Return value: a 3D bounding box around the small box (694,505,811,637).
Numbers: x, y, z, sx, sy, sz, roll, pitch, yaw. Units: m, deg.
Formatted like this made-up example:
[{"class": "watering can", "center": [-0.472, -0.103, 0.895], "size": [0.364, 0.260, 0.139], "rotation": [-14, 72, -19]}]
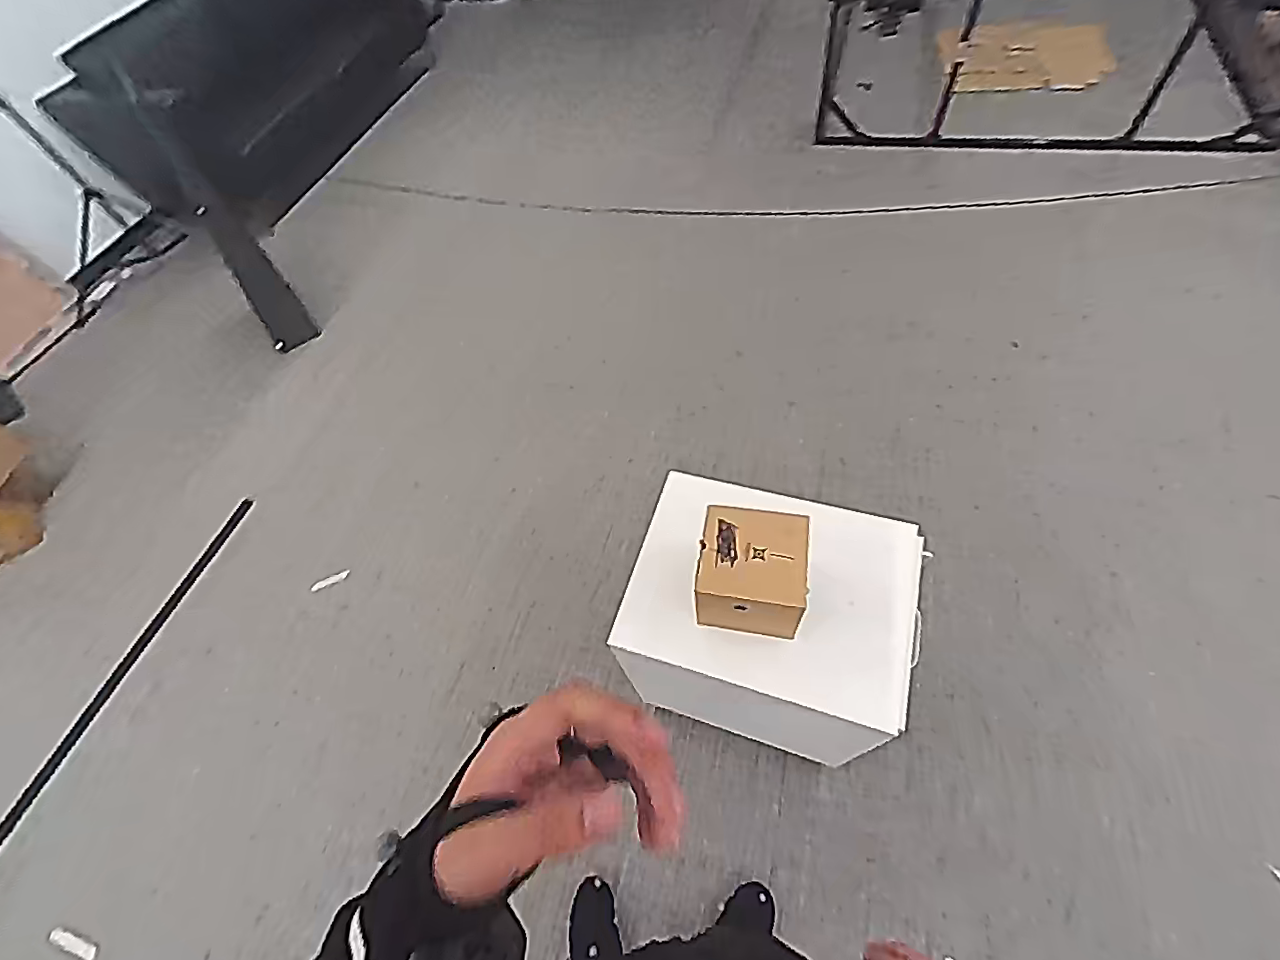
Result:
[{"class": "small box", "center": [0.196, 0.164, 0.955], "size": [0.179, 0.176, 0.168], "rotation": [7, 59, 12]}]
